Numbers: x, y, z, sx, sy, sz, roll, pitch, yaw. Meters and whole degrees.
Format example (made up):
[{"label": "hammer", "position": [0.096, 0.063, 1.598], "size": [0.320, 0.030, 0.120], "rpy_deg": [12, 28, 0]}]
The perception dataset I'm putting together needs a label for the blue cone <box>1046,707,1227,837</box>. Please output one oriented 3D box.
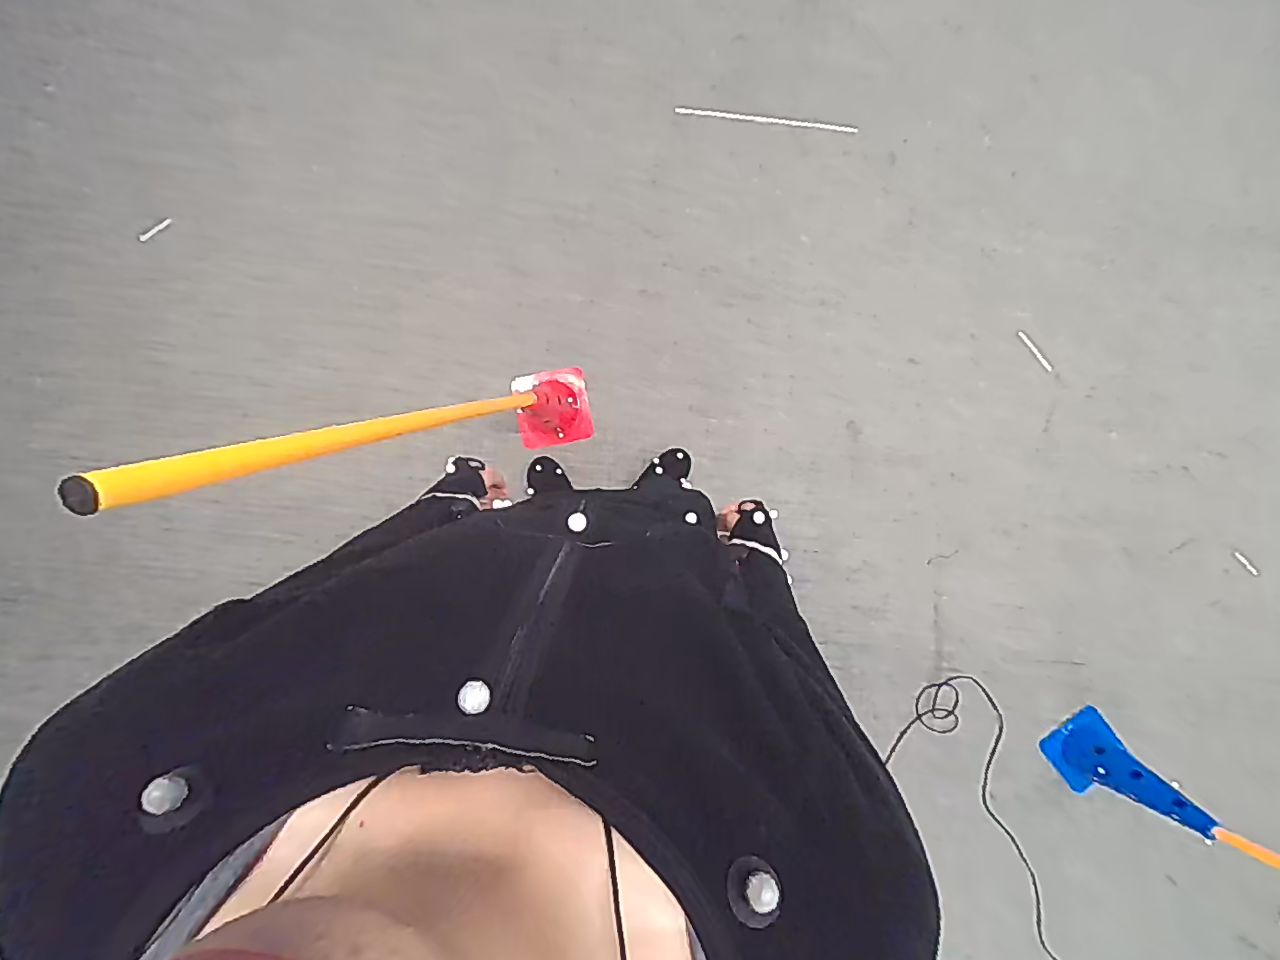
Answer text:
[{"label": "blue cone", "position": [1.298, 0.778, 1.406], "size": [0.193, 0.380, 0.192], "rpy_deg": [-40, 93, -1]}]
